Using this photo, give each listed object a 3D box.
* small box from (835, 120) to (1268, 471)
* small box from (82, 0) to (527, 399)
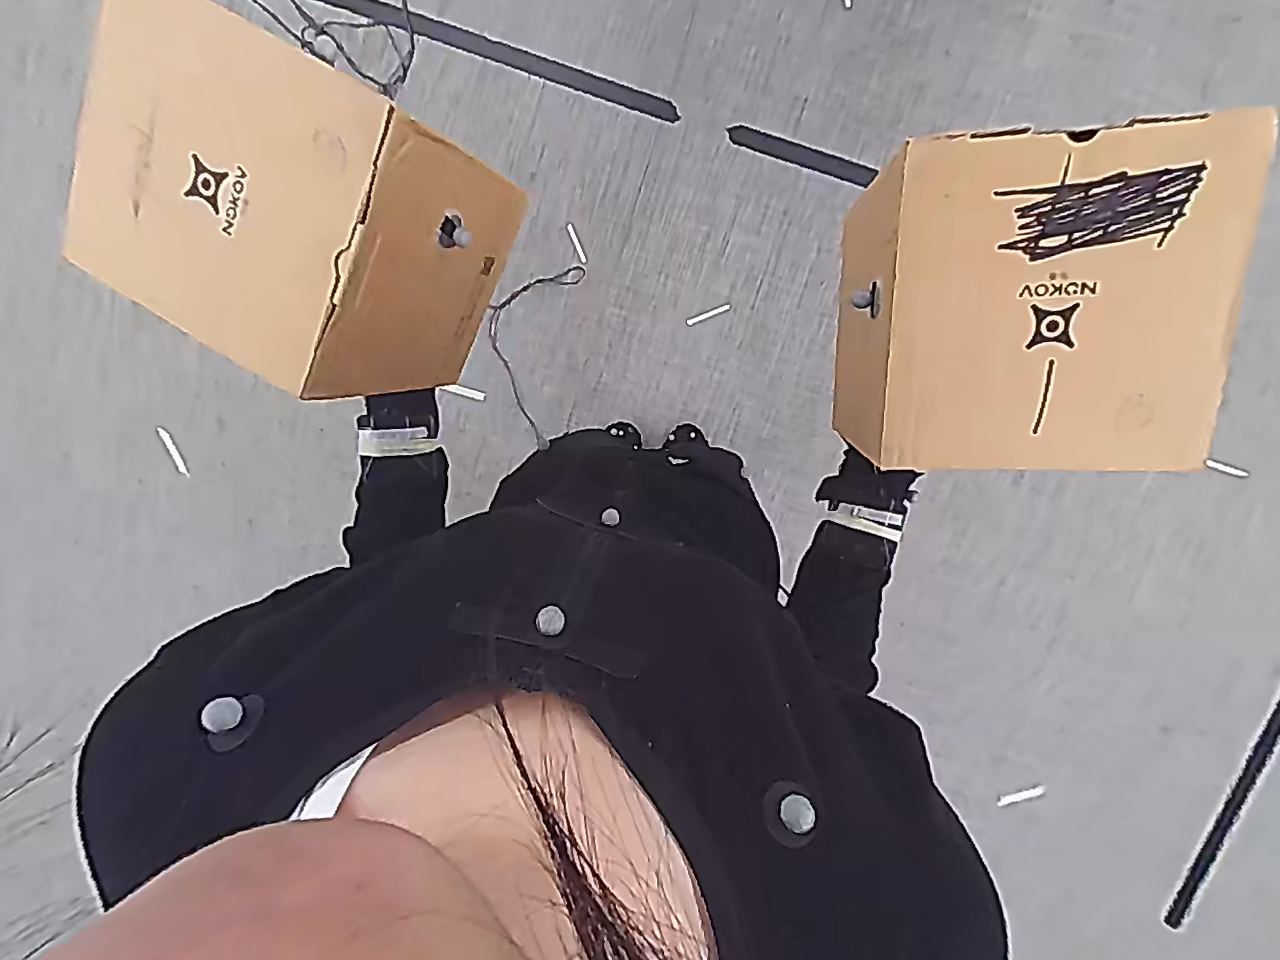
[{"bbox_3d":[0.235,-0.110,0.368,0.168,0.176,0.179,1,104,10],"label":"small box"},{"bbox_3d":[-0.205,-0.174,0.369,0.179,0.176,0.168,30,107,5],"label":"small box"}]
